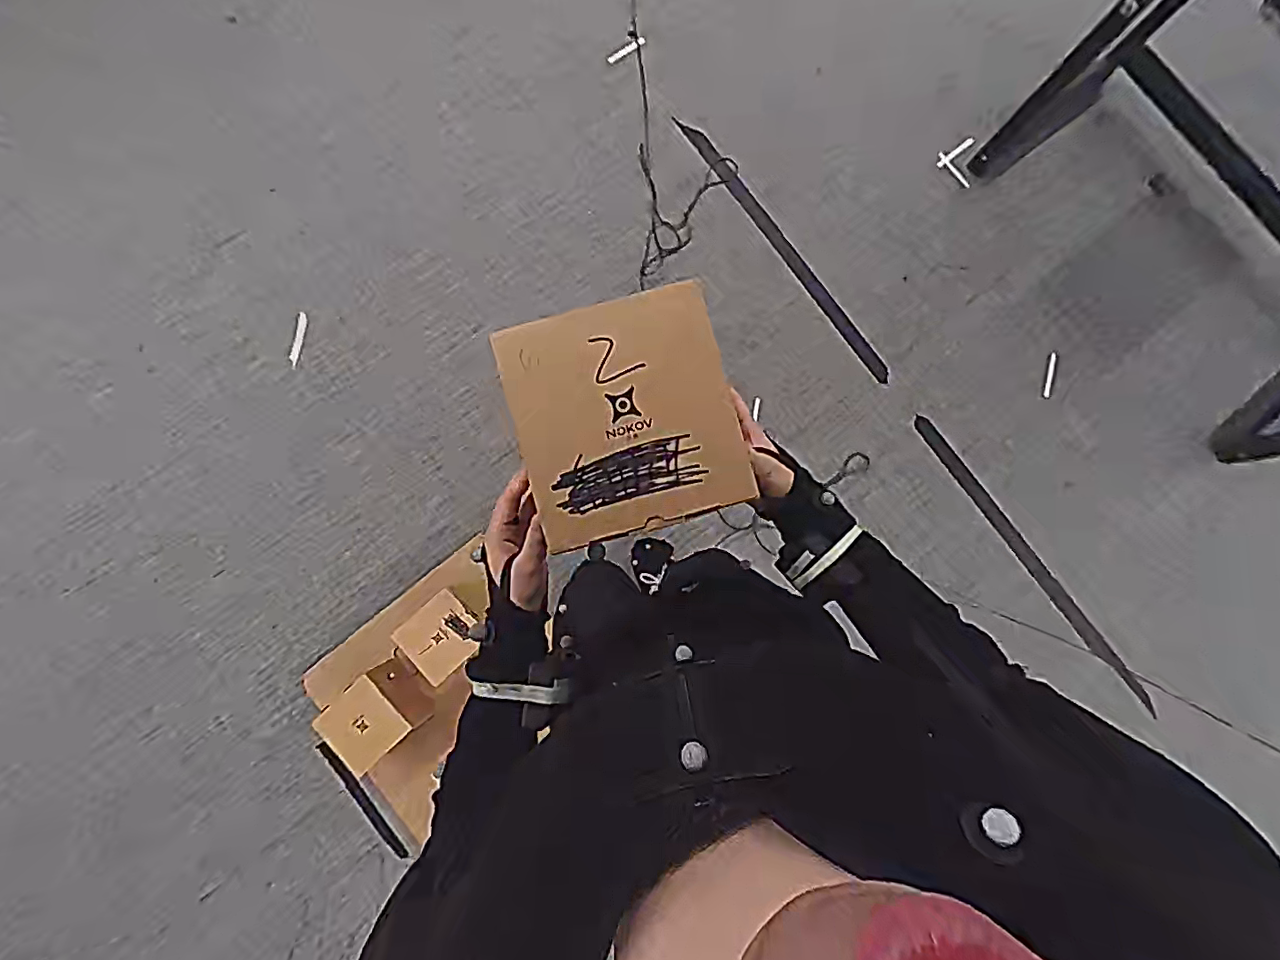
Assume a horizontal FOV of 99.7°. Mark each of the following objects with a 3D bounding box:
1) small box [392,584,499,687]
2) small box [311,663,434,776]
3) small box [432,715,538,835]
[{"bbox_3d":[-0.475,0.378,1.355,0.179,0.176,0.168,-43,87,-7],"label":"small box"},{"bbox_3d":[-0.645,0.573,1.326,0.168,0.176,0.179,-44,88,-6],"label":"small box"},{"bbox_3d":[-0.371,0.704,1.322,0.168,0.176,0.179,-35,87,-7],"label":"small box"}]
